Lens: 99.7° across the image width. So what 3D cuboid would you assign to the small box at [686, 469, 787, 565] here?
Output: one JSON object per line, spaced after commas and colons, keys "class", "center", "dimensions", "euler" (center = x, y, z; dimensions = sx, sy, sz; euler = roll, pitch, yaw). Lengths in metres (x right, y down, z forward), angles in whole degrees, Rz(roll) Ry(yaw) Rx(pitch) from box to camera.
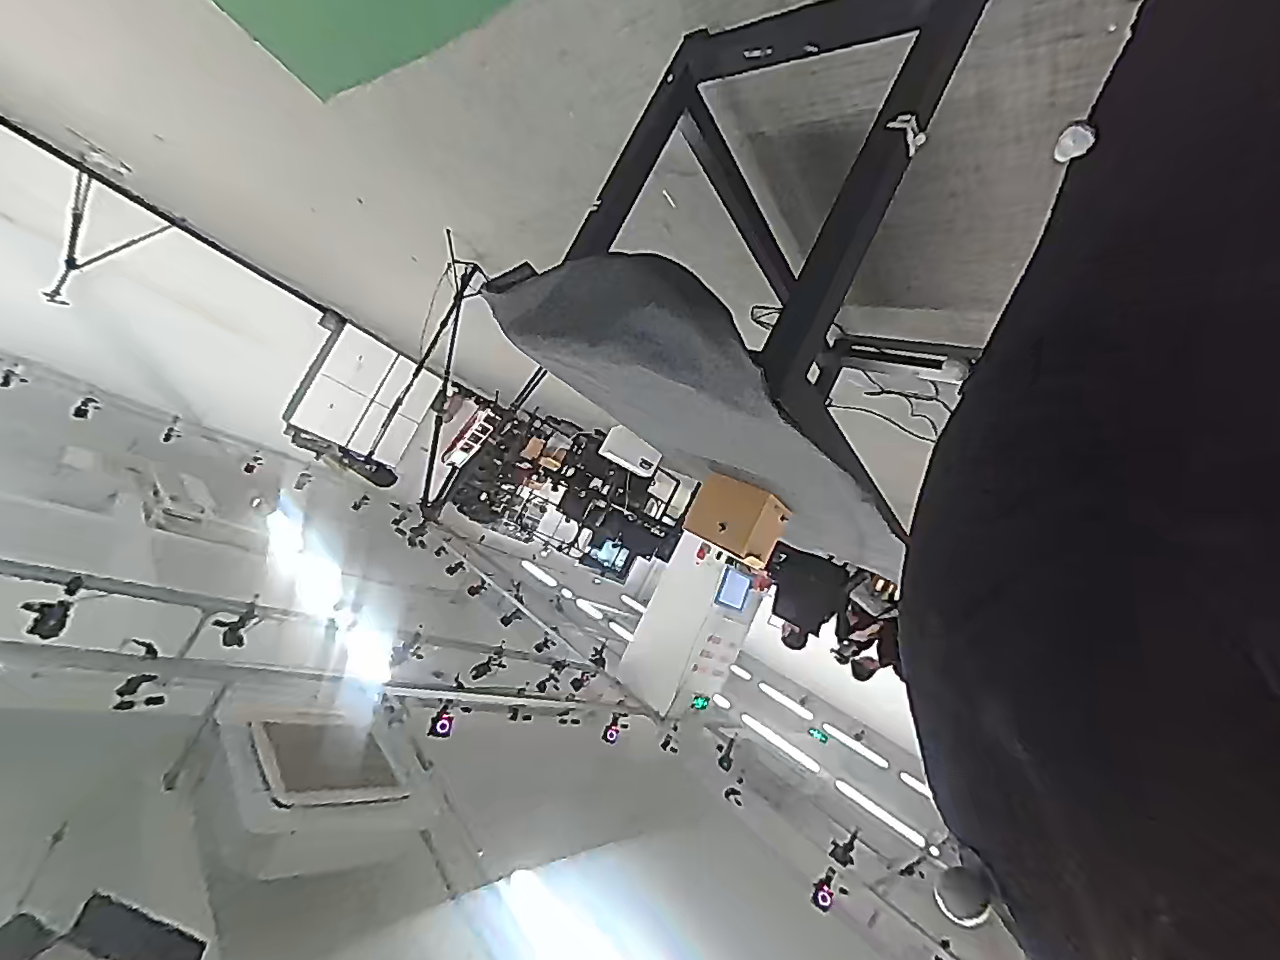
{"class": "small box", "center": [0.251, 0.090, 1.361], "dimensions": [0.179, 0.176, 0.168], "euler": [24, 174, 37]}
